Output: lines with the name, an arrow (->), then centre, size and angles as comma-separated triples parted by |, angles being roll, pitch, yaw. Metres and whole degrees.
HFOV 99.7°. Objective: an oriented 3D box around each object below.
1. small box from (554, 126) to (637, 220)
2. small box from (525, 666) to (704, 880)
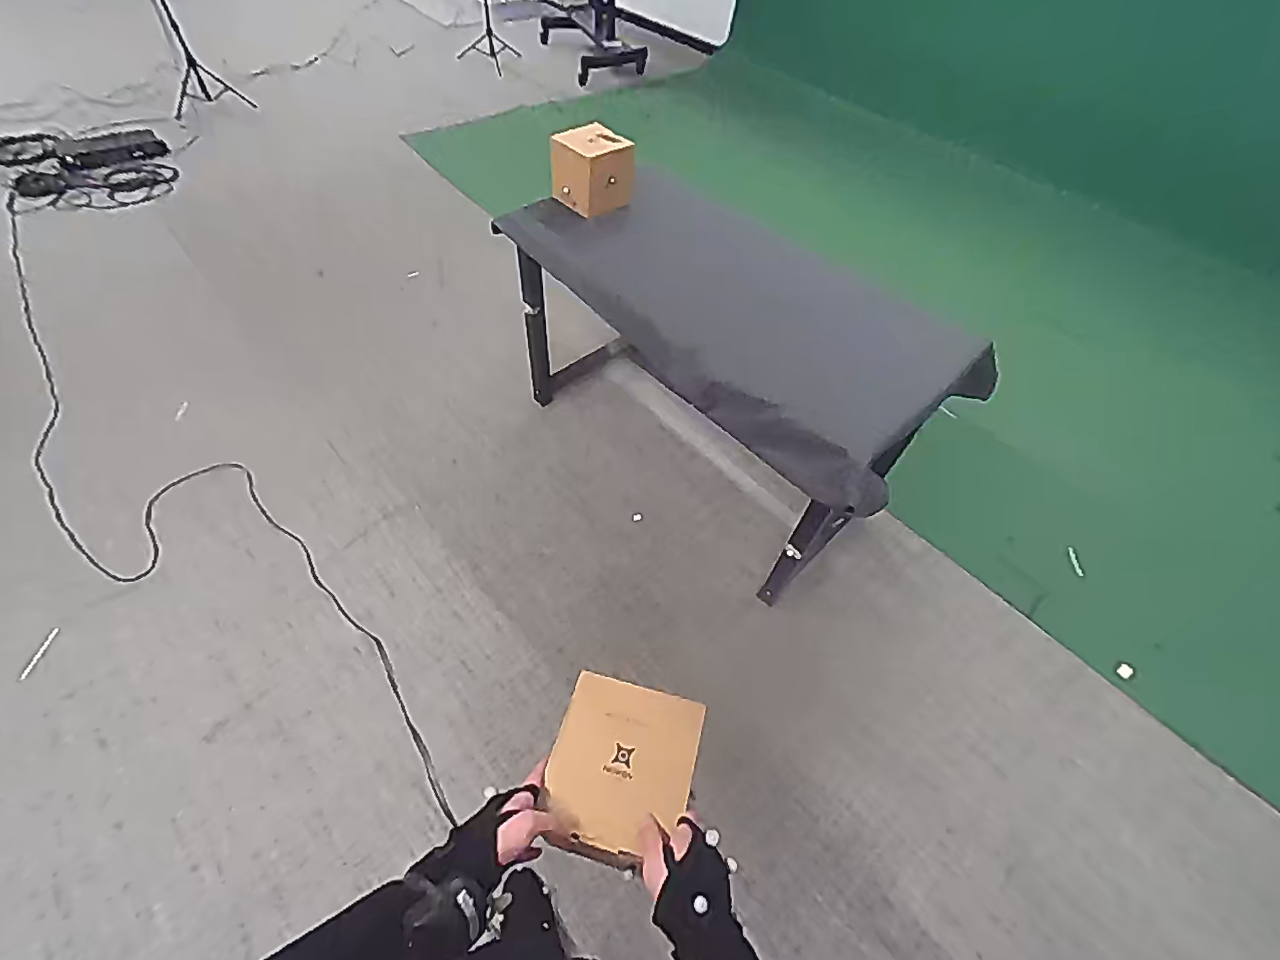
small box -> -0.131, -0.886, 1.563 | 0.179, 0.176, 0.168 | -36, 64, -28
small box -> -0.023, 0.366, 0.672 | 0.168, 0.176, 0.179 | 12, 49, 10
